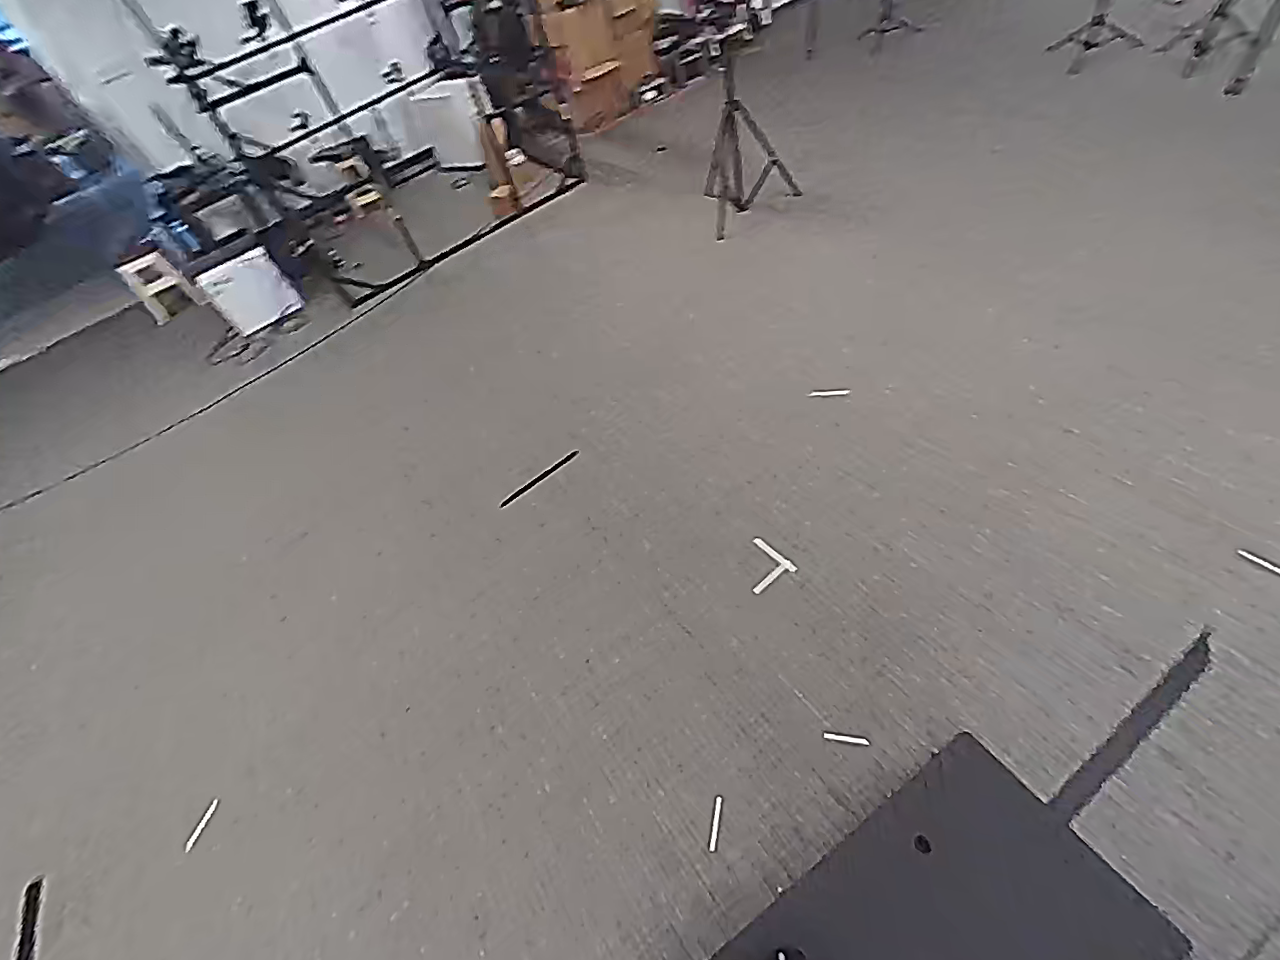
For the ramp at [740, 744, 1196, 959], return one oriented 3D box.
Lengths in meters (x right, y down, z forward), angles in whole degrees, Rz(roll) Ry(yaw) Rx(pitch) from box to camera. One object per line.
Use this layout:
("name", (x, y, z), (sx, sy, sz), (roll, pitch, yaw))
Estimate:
("ramp", (0.537, 0.996, 1.027), (0.991, 0.206, 0.509), (-36, 48, -15))
